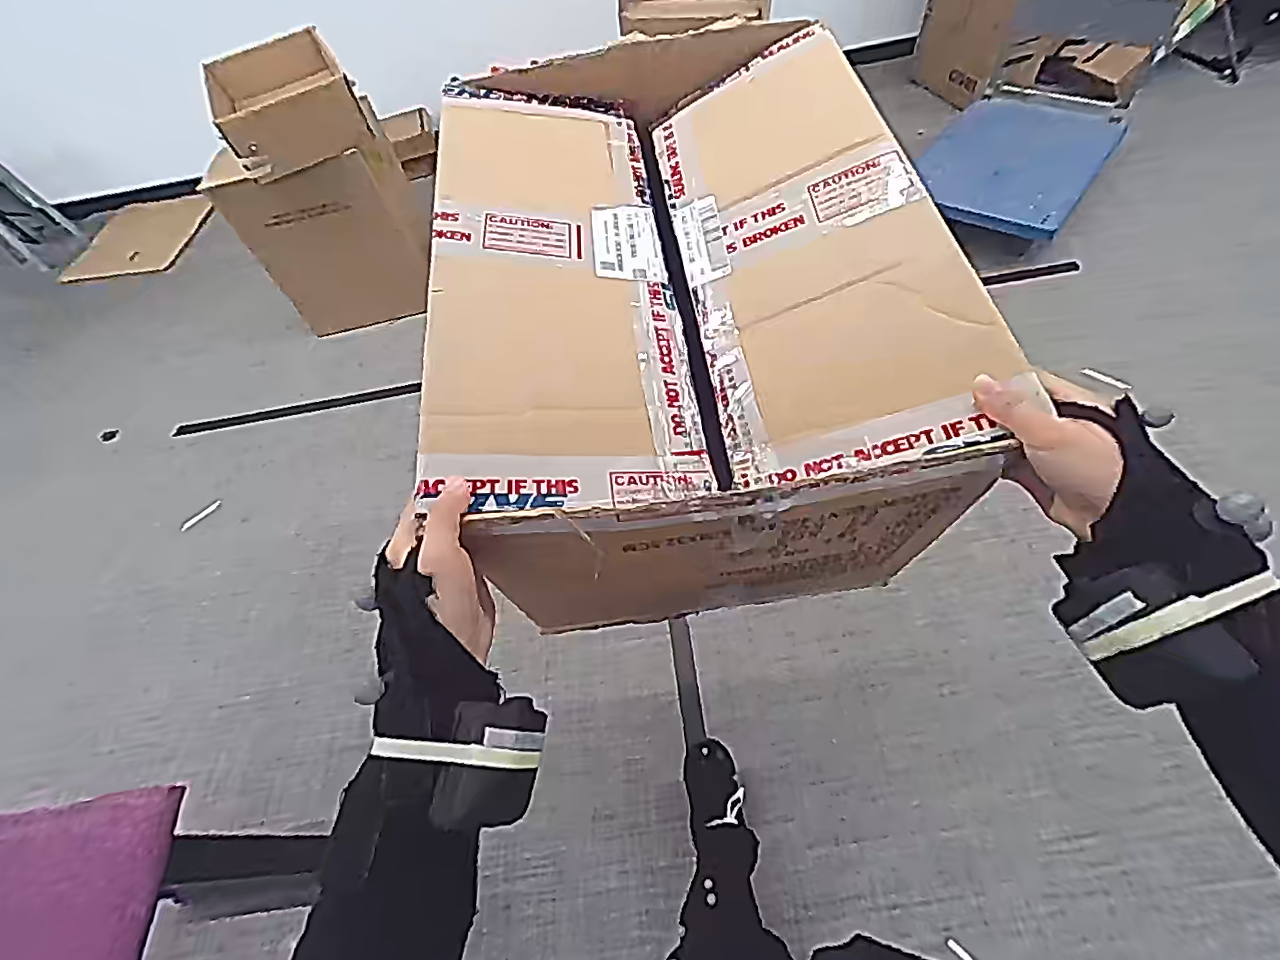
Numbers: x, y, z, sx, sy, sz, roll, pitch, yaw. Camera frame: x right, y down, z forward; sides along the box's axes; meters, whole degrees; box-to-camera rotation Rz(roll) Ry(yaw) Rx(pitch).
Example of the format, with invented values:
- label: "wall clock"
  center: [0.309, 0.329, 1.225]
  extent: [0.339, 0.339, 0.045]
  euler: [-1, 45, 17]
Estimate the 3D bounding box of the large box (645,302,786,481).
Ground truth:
- label: "large box"
  center: [0.210, -0.262, 1.617]
  extent: [0.320, 0.320, 0.408]
  euler: [-11, 56, 1]
